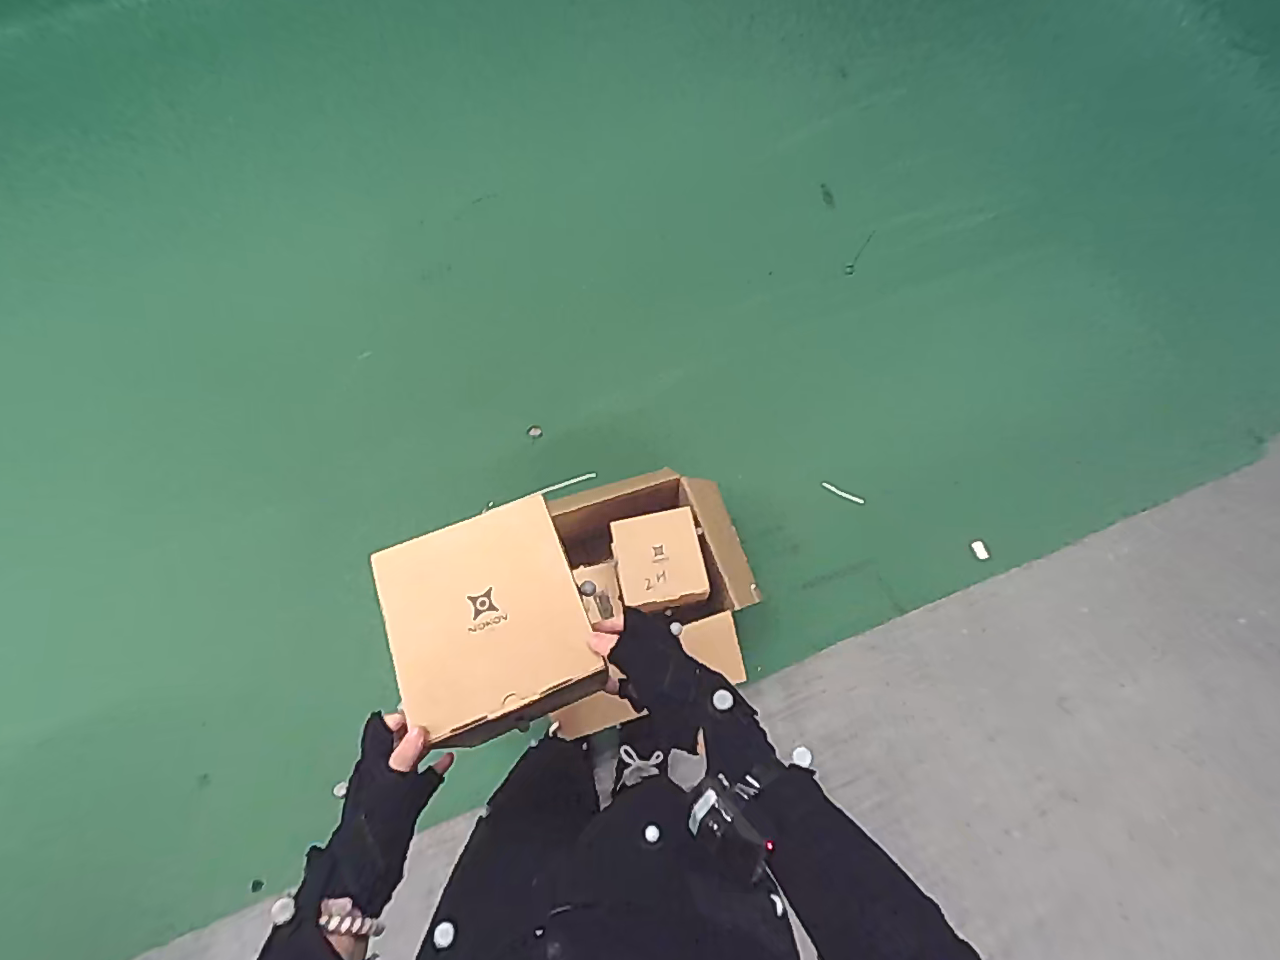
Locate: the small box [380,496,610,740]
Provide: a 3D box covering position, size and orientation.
[{"bbox_3d":[-0.137,0.146,0.548,0.168,0.176,0.179,-19,67,-12],"label":"small box"}]
